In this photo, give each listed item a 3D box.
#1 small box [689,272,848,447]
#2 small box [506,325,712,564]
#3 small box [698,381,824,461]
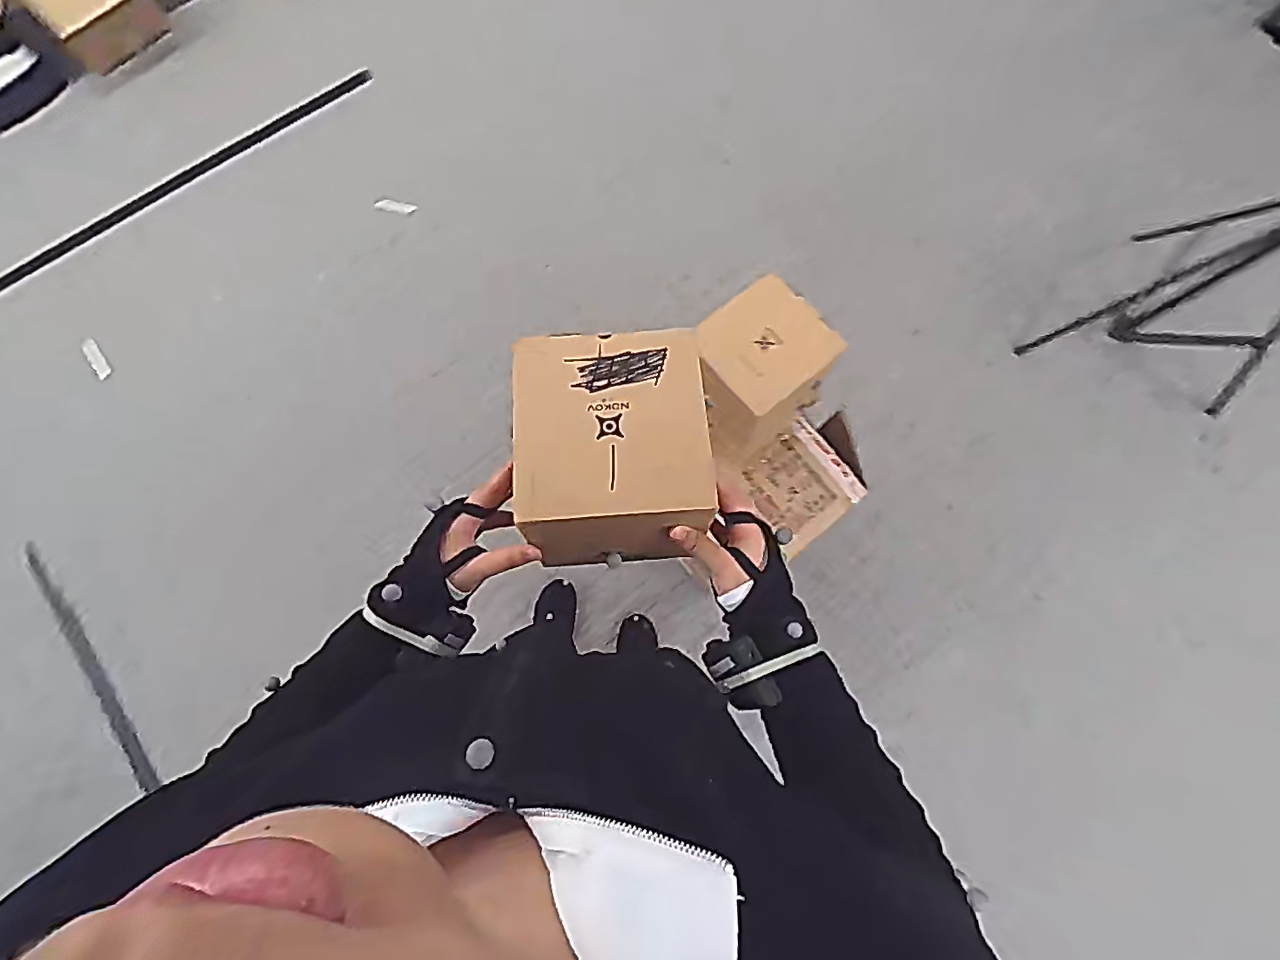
[{"bbox_3d":[0.187,-0.181,0.858,0.179,0.176,0.168,-38,78,-5],"label":"small box"},{"bbox_3d":[-0.033,-0.026,0.530,0.168,0.176,0.179,-5,69,-3],"label":"small box"},{"bbox_3d":[0.206,-0.162,1.020,0.179,0.176,0.168,-38,78,-6],"label":"small box"}]
